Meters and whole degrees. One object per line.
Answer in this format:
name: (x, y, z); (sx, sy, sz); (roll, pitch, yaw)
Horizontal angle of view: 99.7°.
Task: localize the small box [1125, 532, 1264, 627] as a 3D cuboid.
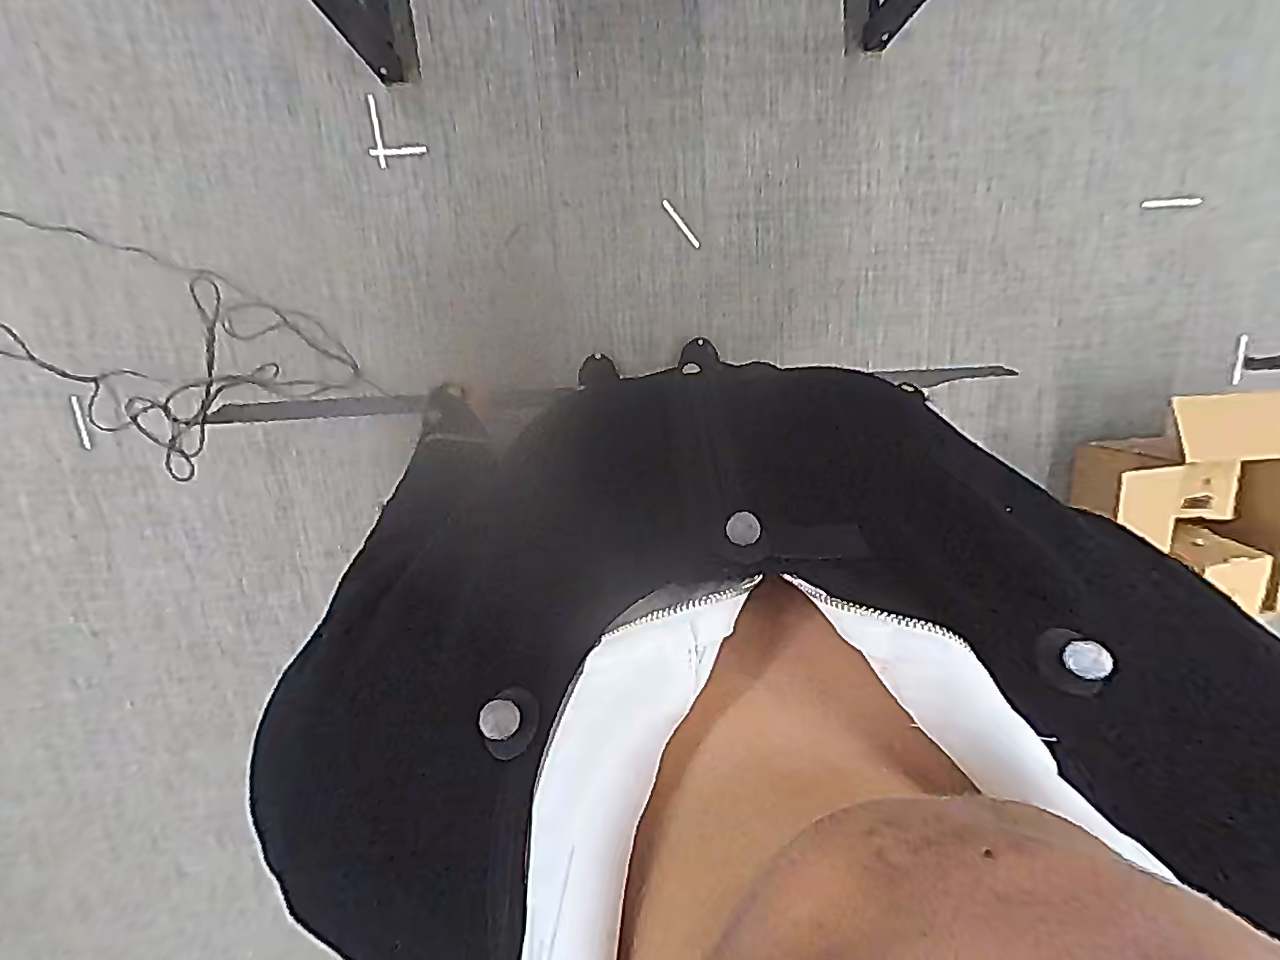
small box: (1.379, 0.240, 1.358); (0.168, 0.176, 0.179); (-7, 107, -2)
